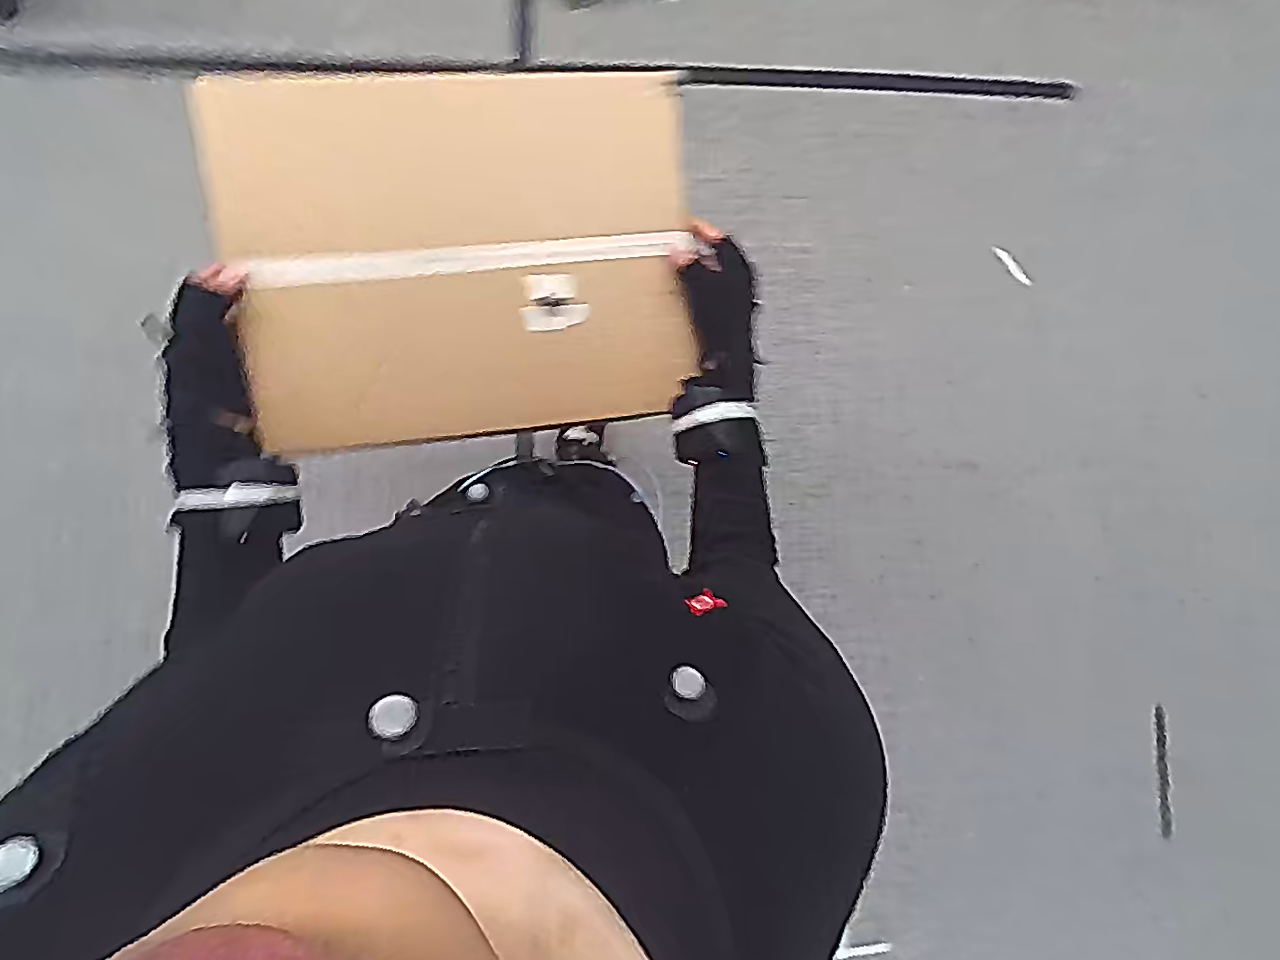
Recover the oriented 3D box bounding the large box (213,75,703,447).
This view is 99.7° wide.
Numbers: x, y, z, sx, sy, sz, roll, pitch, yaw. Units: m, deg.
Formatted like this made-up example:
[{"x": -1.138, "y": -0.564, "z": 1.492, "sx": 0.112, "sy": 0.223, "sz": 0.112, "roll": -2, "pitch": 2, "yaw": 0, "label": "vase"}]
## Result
[{"x": -0.176, "y": -0.221, "z": 0.646, "sx": 0.408, "sy": 0.320, "sz": 0.320, "roll": -8, "pitch": 97, "yaw": -10, "label": "large box"}]
